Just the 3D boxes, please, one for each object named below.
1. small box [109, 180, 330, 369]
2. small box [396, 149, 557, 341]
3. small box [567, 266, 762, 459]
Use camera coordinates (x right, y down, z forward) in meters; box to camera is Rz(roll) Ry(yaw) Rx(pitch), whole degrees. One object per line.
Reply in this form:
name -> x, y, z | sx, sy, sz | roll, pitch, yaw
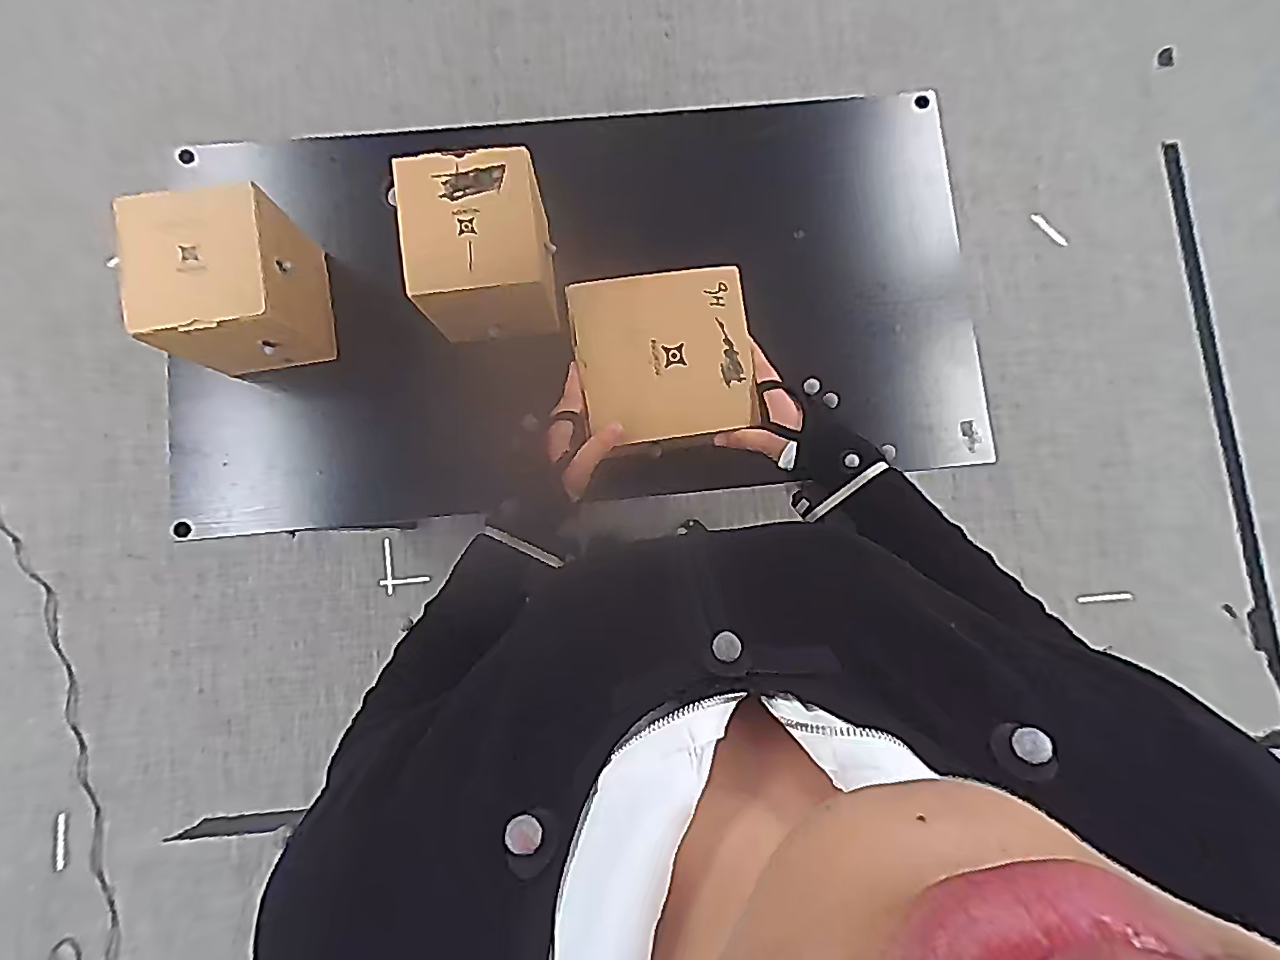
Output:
small box -> -0.538, -0.257, 0.717 | 0.168, 0.176, 0.179 | -9, 84, -4
small box -> -0.210, -0.305, 0.730 | 0.168, 0.176, 0.179 | -7, 86, -2
small box -> 0.019, -0.118, 0.608 | 0.179, 0.176, 0.168 | -8, 89, -5
